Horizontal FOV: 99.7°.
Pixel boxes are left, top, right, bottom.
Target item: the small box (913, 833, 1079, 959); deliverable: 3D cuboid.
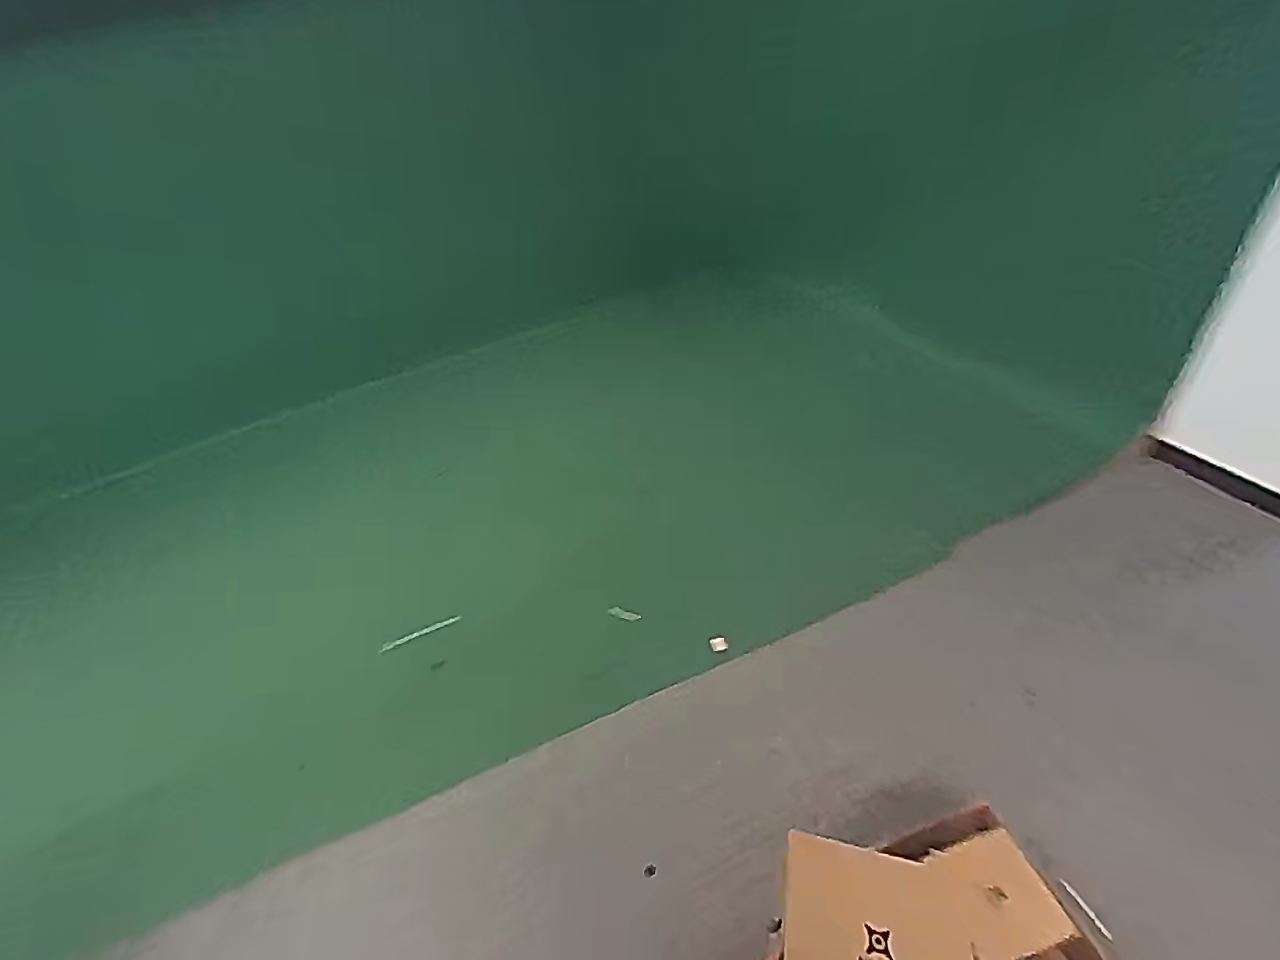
[{"bbox_3d":[0.637,0.789,0.994,0.179,0.176,0.168,-18,41,-5],"label":"small box"}]
